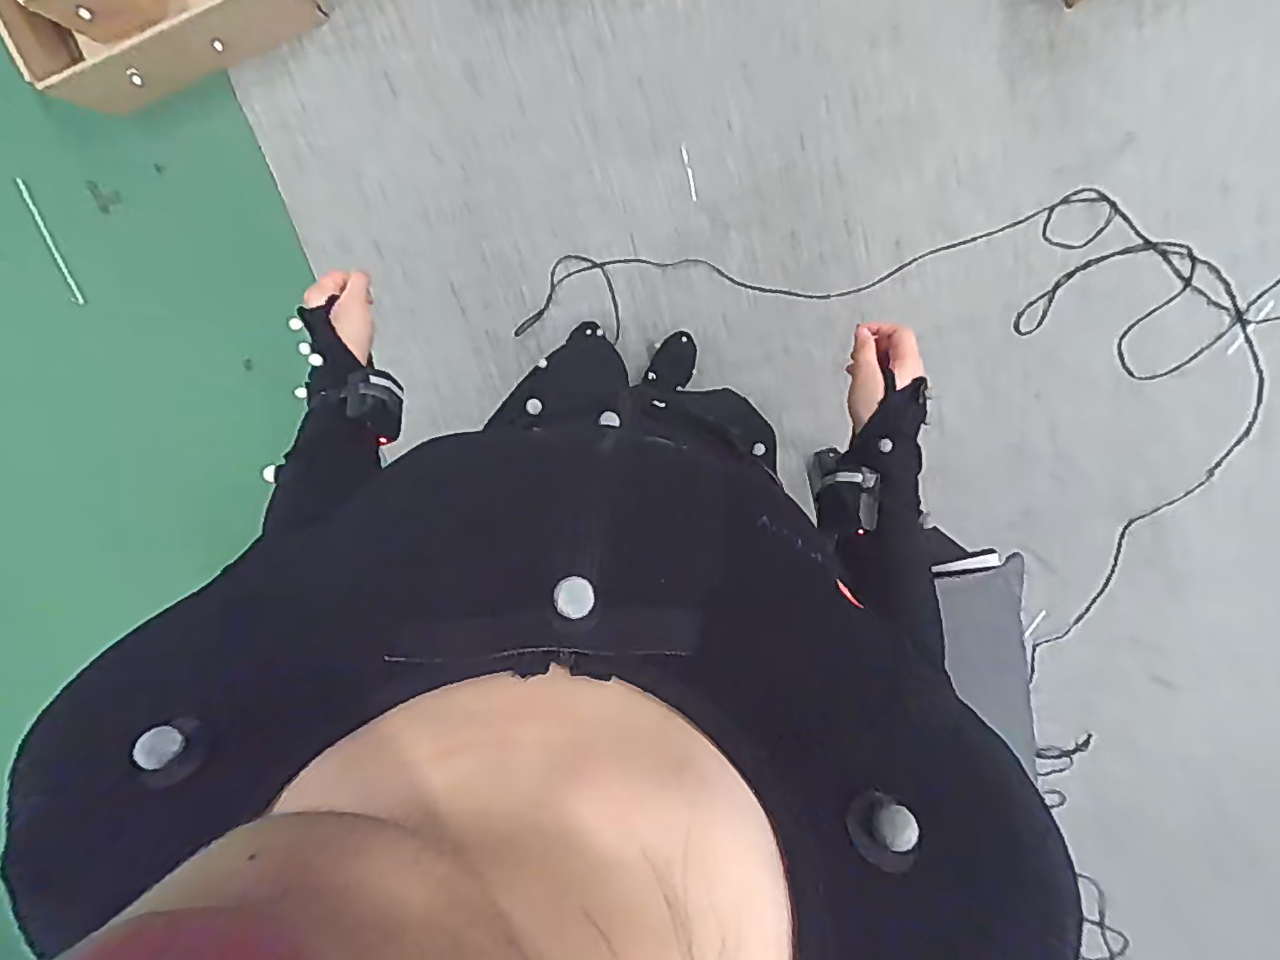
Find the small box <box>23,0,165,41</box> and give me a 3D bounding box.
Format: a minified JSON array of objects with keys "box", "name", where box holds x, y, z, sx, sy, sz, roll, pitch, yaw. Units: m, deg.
[{"box":[-1.170,-1.074,1.131,0.179,0.176,0.168,-15,103,7],"name":"small box"}]
